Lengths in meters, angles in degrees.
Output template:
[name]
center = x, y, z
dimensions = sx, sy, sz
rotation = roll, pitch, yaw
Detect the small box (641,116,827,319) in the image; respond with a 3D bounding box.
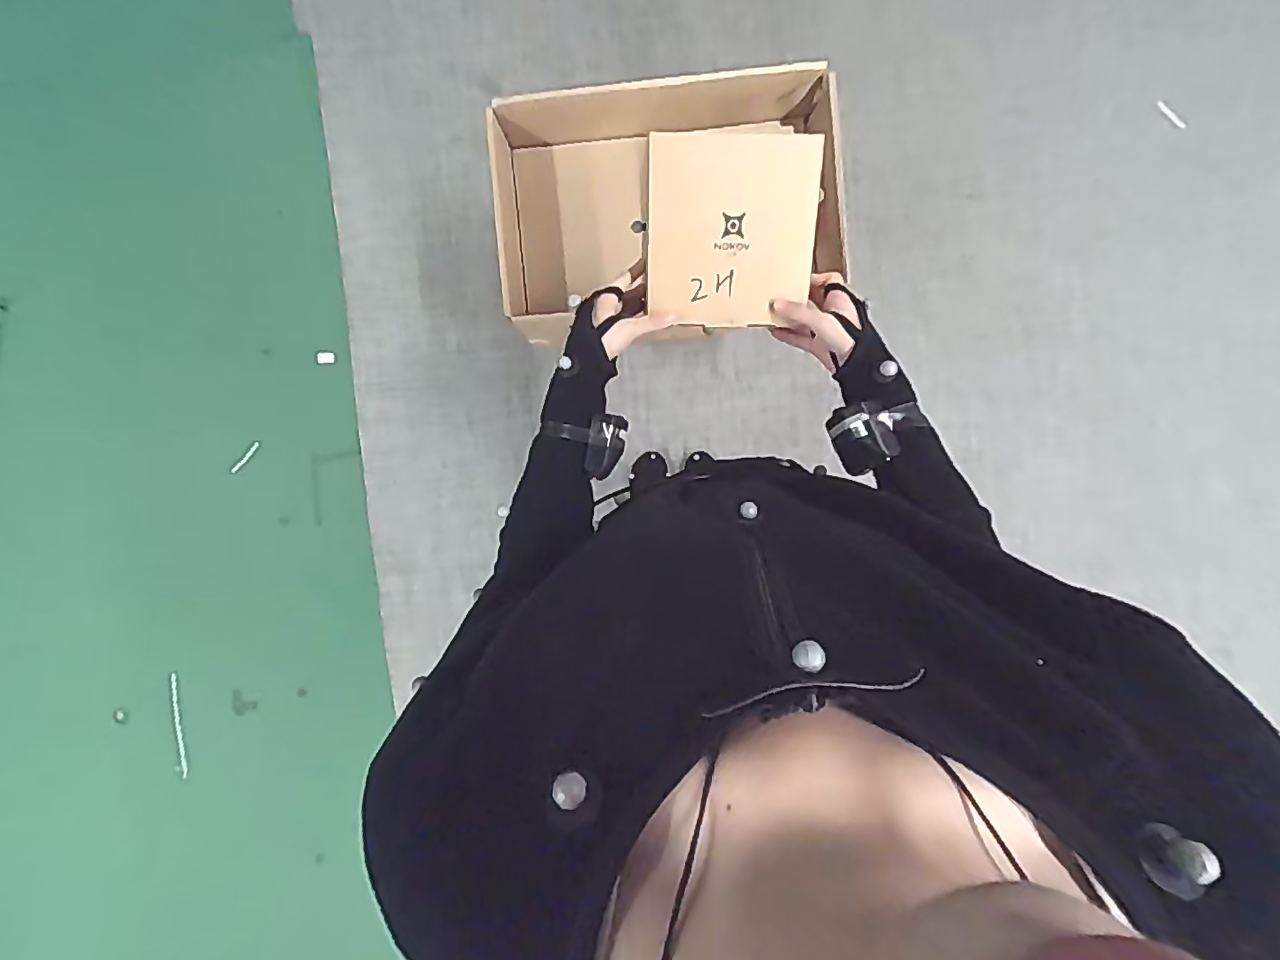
[small box]
center = 0.087, -0.274, 0.596
dimensions = 0.168, 0.176, 0.179
rotation = 1, 110, -1
